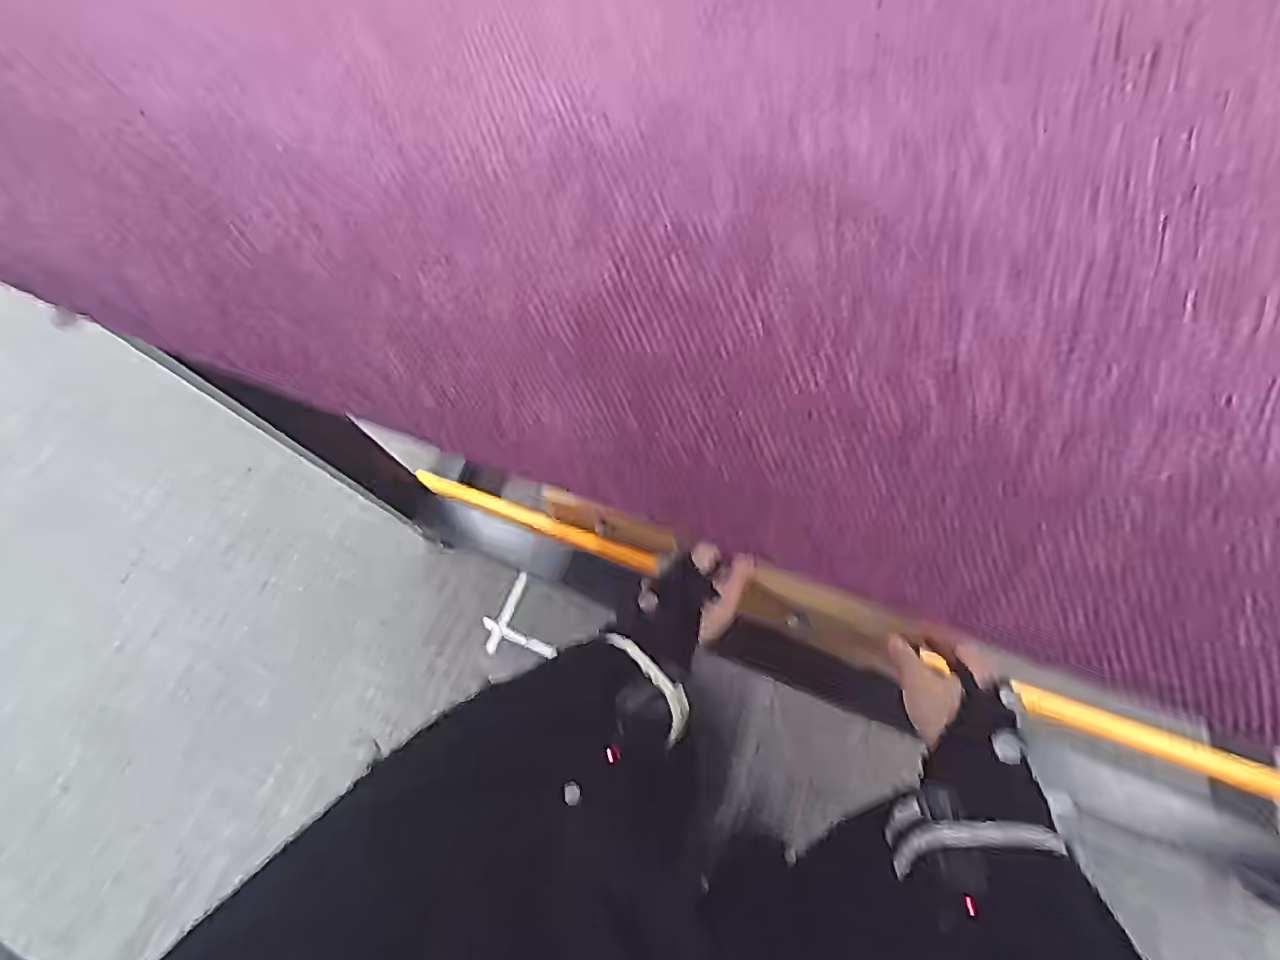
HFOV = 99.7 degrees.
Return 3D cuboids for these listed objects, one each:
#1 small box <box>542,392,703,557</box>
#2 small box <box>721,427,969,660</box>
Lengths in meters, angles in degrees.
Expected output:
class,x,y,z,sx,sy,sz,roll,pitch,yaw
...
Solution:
class,x,y,z,sx,sy,sz,roll,pitch,yaw
small box,-0.015,0.001,0.771,0.179,0.176,0.168,13,68,9
small box,0.198,0.077,0.570,0.179,0.176,0.168,24,71,12
